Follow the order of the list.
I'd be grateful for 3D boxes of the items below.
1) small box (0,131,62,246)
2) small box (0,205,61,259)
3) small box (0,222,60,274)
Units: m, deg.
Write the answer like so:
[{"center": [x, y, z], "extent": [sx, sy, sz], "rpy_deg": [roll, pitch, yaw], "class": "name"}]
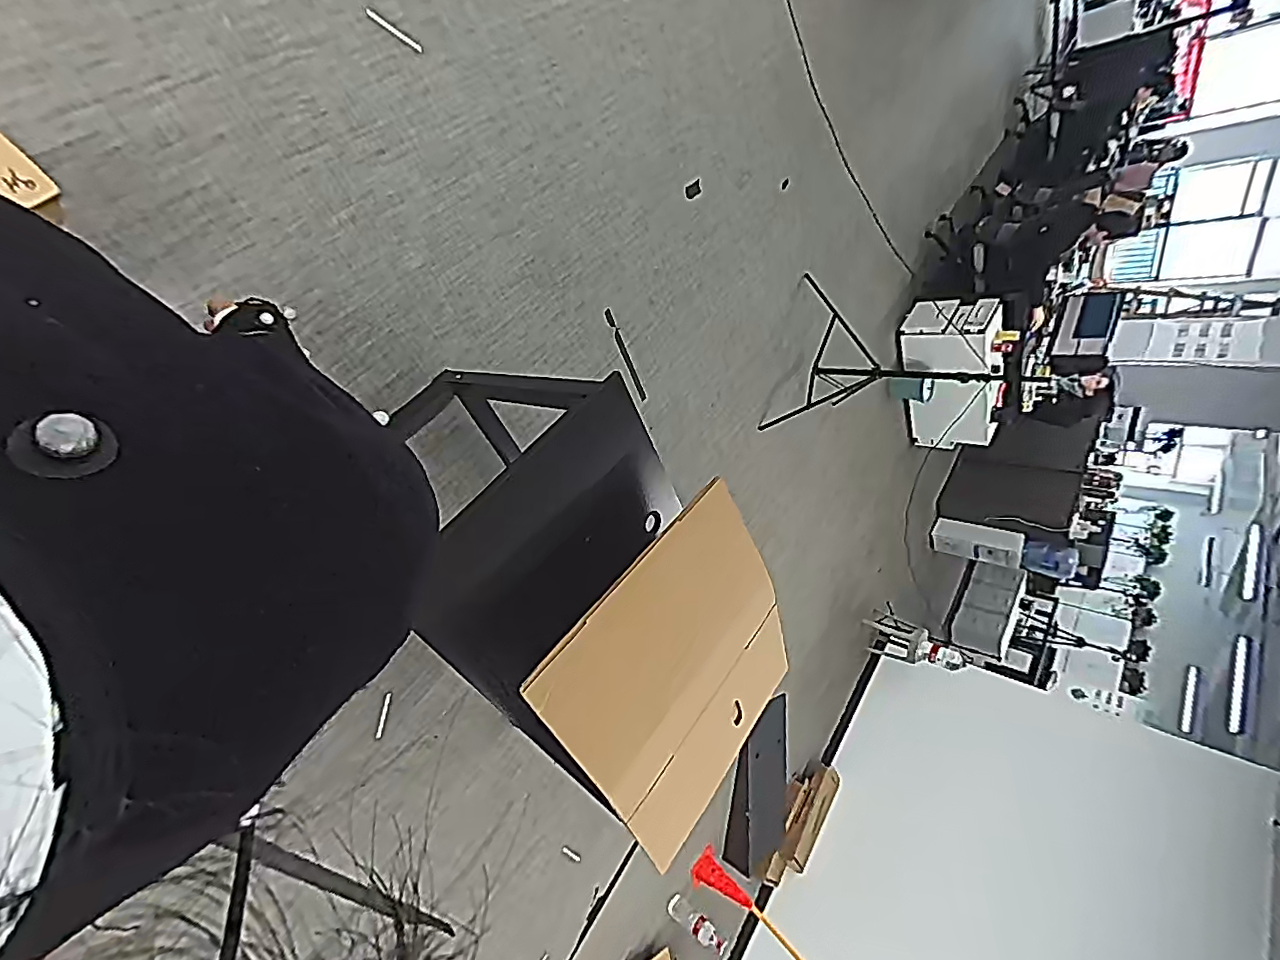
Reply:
[{"center": [-0.867, -0.377, 0.649], "extent": [0.168, 0.176, 0.179], "rpy_deg": [-53, 133, -25], "class": "small box"}, {"center": [-0.984, -0.404, 0.761], "extent": [0.179, 0.176, 0.168], "rpy_deg": [-56, 135, -23], "class": "small box"}, {"center": [-1.105, -0.425, 0.868], "extent": [0.179, 0.176, 0.168], "rpy_deg": [-52, 132, -24], "class": "small box"}]
